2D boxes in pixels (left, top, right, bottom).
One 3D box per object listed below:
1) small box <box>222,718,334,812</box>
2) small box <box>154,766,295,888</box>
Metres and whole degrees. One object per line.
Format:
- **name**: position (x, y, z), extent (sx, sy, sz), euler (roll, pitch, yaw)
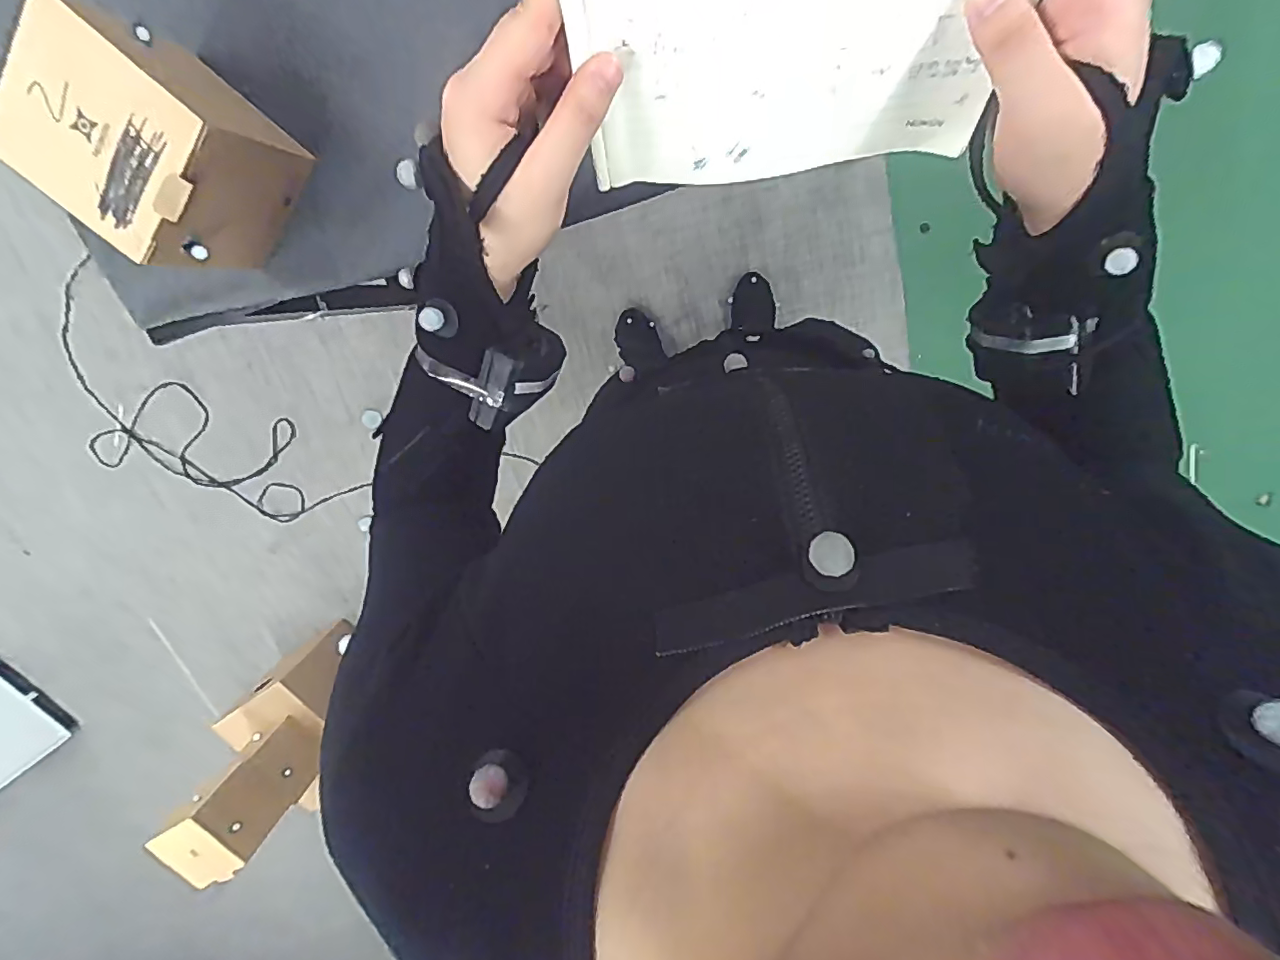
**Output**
- **small box**: position (-0.996, 0.801, 1.490), extent (0.168, 0.176, 0.179), euler (-33, 104, 13)
- **small box**: position (-1.013, 0.843, 1.334), extent (0.168, 0.176, 0.179), euler (-32, 104, 13)
